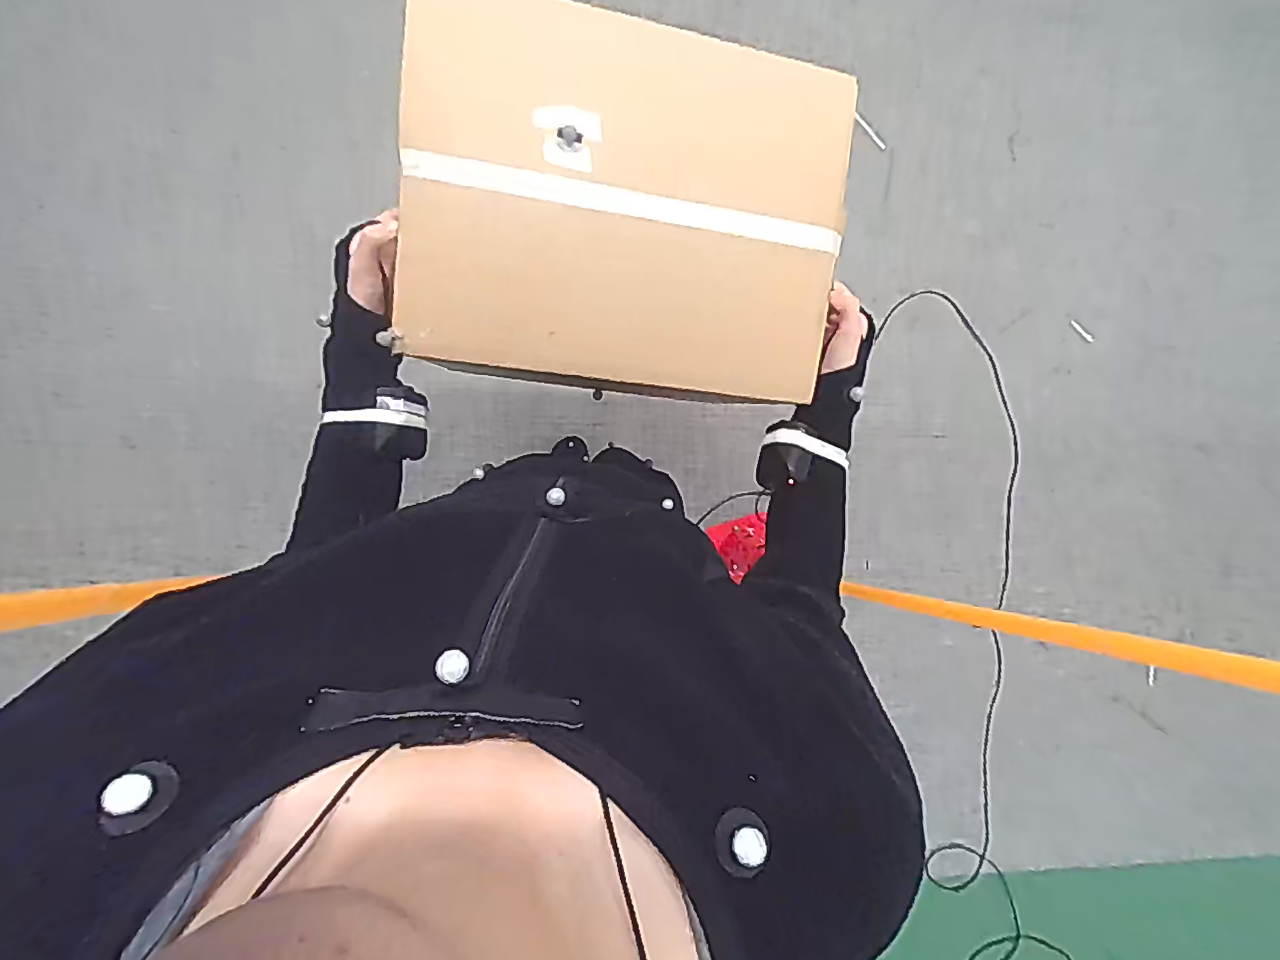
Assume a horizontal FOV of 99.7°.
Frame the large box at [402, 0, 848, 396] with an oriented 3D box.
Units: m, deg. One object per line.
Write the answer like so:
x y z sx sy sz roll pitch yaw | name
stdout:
-0.031 -0.277 0.651 0.408 0.320 0.320 5 97 -11 | large box
